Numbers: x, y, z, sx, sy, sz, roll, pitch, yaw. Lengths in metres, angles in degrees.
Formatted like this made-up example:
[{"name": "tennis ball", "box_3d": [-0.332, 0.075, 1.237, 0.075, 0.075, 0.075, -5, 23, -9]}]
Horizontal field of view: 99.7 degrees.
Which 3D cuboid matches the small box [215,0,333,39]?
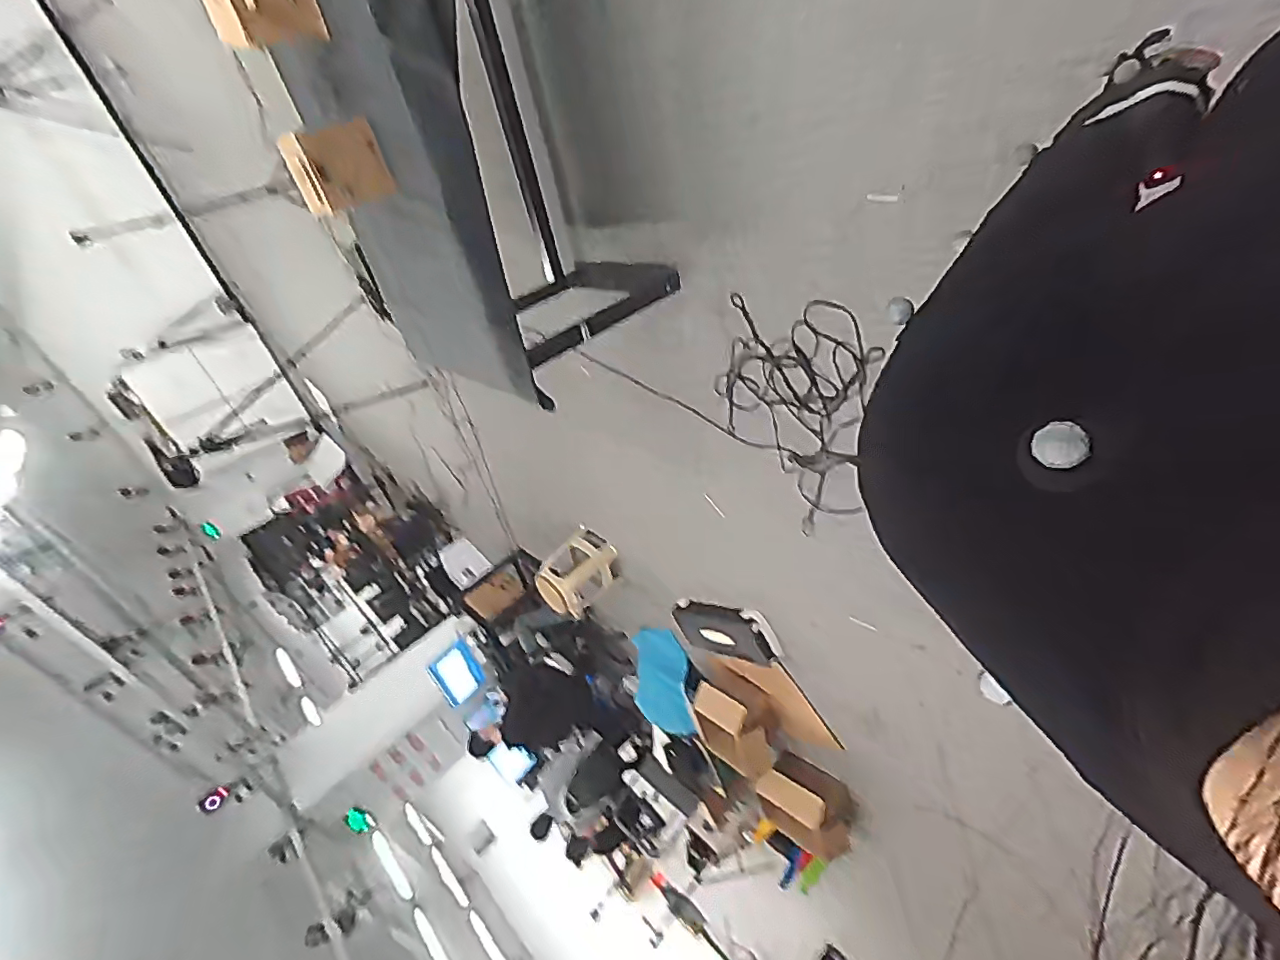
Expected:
[{"name": "small box", "box_3d": [-0.773, -1.023, 1.113, 0.179, 0.176, 0.168, 31, 144, 32]}]
